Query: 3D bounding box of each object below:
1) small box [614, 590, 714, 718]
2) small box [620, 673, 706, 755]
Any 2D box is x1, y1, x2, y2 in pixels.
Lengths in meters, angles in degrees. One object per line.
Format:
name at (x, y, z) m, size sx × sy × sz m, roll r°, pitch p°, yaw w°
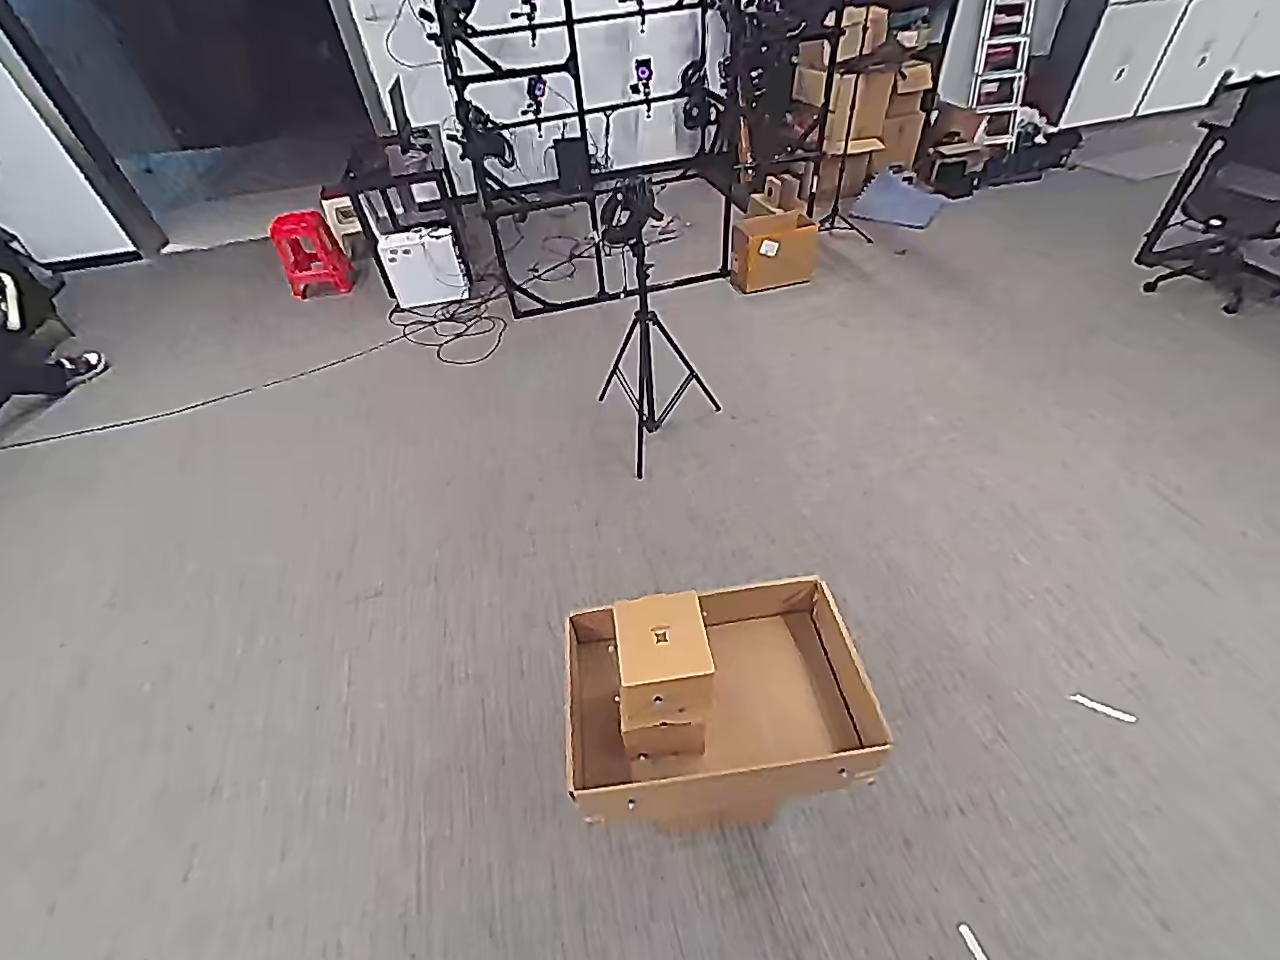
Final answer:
small box at (0.046, 0.341, 1.044) m, size 0.168 × 0.176 × 0.179 m, roll -8°, pitch 43°, yaw -3°
small box at (0.048, 0.467, 1.148) m, size 0.168 × 0.176 × 0.179 m, roll -5°, pitch 43°, yaw 0°
